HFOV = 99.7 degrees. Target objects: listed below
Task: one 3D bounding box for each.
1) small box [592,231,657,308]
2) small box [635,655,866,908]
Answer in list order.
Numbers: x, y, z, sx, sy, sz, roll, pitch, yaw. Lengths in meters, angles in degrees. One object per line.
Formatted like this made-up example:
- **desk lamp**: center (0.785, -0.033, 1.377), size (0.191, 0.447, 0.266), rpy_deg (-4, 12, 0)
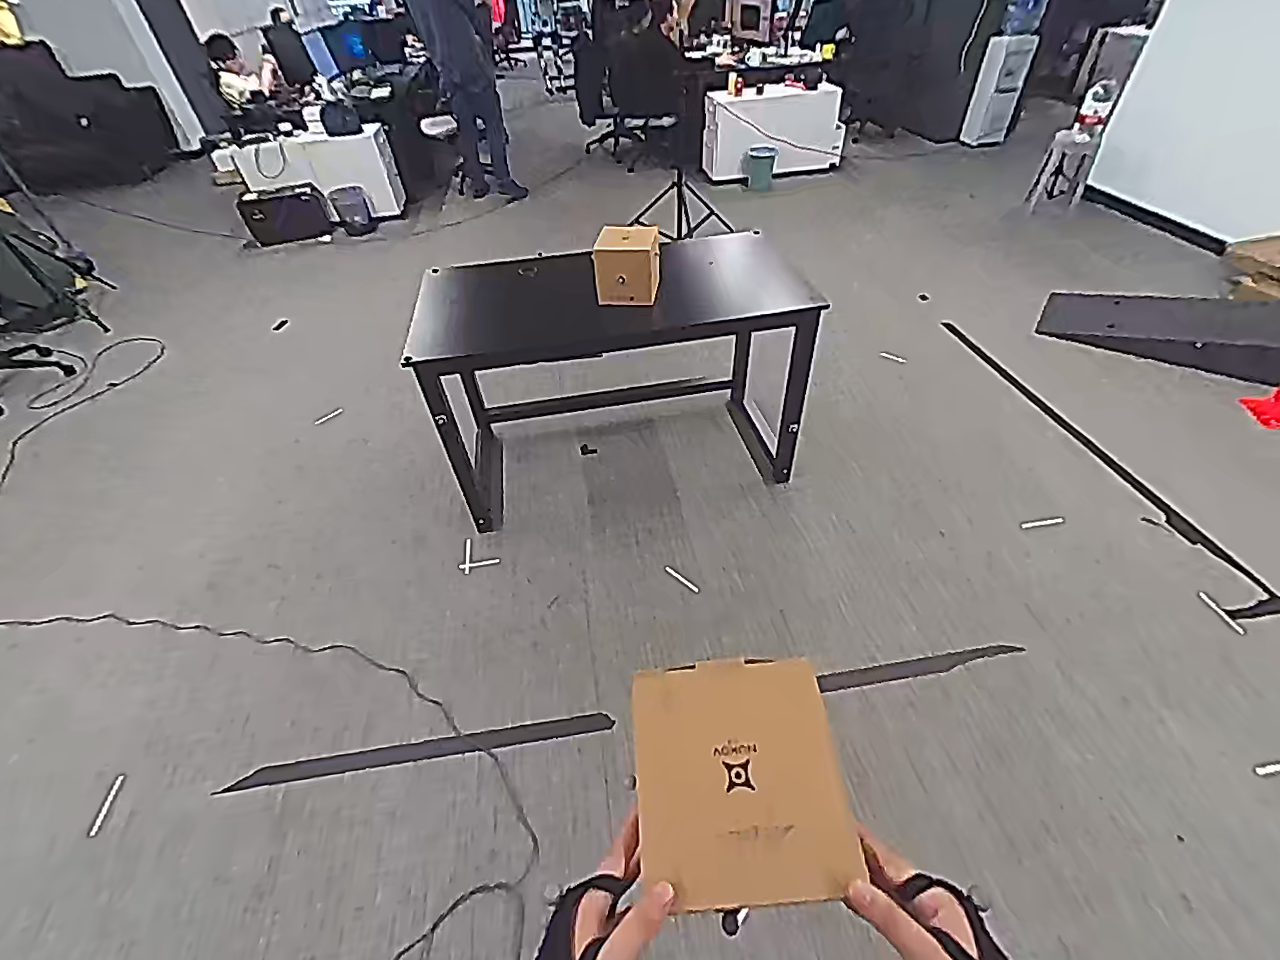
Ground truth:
- **small box**: center (-0.039, -0.633, 1.631), size (0.168, 0.176, 0.179), rpy_deg (4, 44, 8)
- **small box**: center (0.083, 0.285, 0.508), size (0.168, 0.176, 0.179), rpy_deg (-5, 51, 0)
